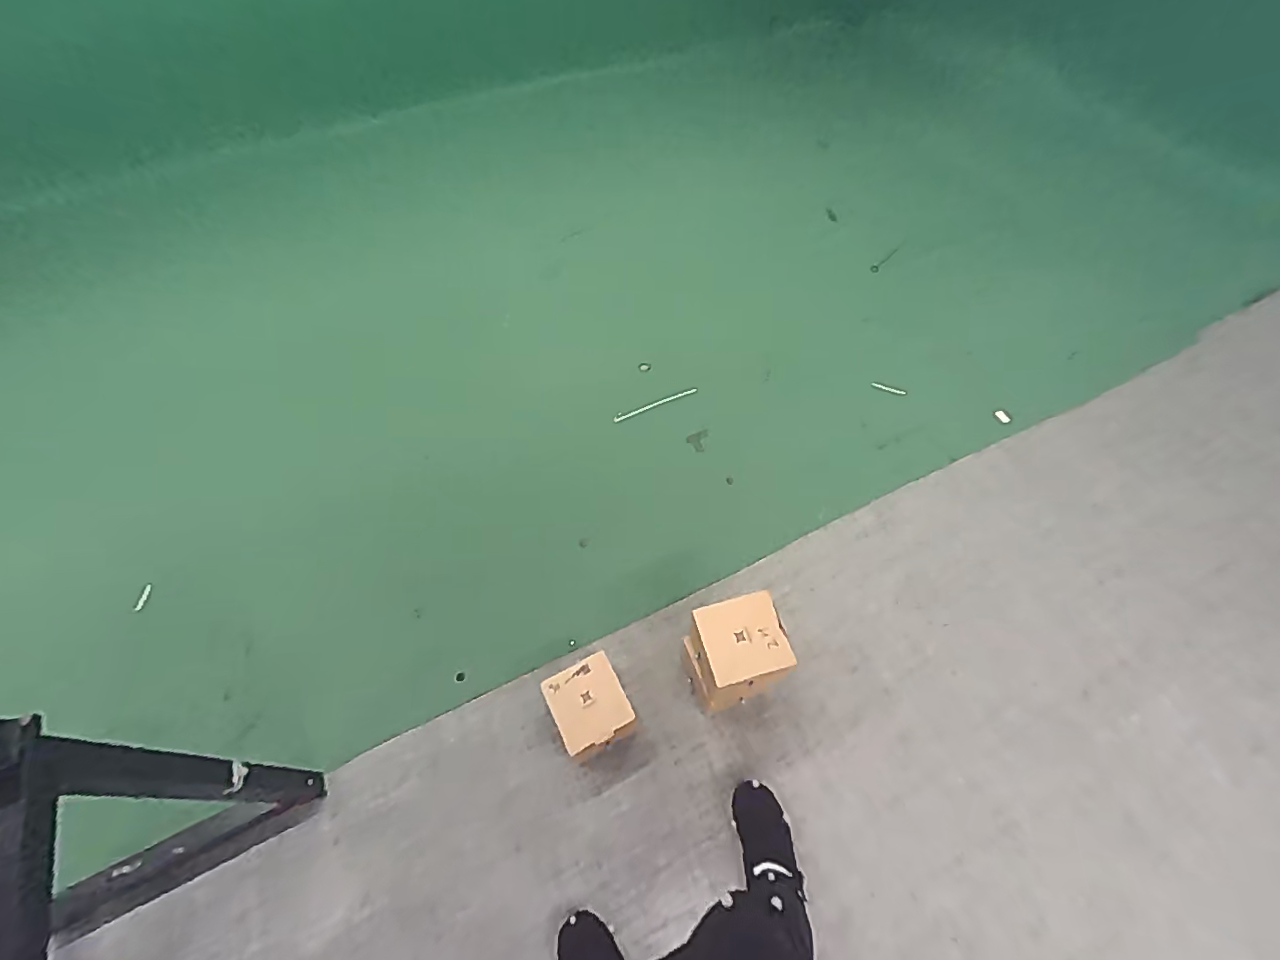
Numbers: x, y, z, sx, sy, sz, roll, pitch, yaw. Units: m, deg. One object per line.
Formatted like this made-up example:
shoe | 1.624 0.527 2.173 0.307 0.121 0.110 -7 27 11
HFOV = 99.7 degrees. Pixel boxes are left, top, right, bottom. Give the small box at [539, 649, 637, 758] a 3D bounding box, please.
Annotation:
small box | -0.115 0.532 1.272 0.168 0.176 0.179 -26 60 -14

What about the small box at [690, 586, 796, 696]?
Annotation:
small box | 0.212 0.356 1.180 0.179 0.176 0.168 -14 60 -8
